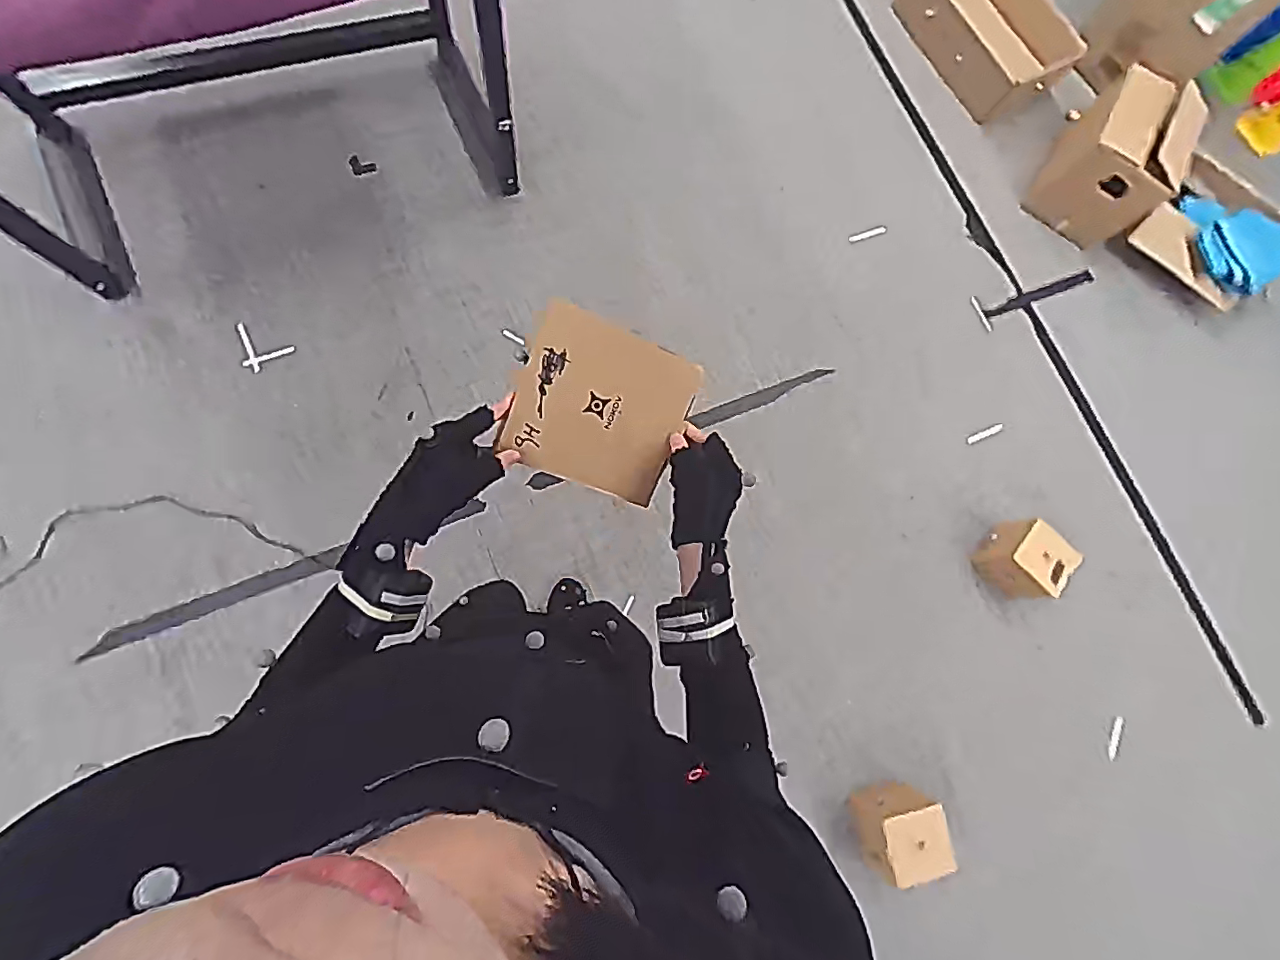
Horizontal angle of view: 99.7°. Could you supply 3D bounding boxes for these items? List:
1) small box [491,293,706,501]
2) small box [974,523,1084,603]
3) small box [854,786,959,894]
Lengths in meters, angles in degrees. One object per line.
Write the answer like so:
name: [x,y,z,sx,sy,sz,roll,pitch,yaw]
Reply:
small box: [-0.059,-0.096,0.615,0.179,0.176,0.168,19,98,-20]
small box: [1.181,0.254,1.650,0.179,0.176,0.168,44,75,3]
small box: [0.694,0.945,1.435,0.179,0.176,0.168,-9,81,-11]
